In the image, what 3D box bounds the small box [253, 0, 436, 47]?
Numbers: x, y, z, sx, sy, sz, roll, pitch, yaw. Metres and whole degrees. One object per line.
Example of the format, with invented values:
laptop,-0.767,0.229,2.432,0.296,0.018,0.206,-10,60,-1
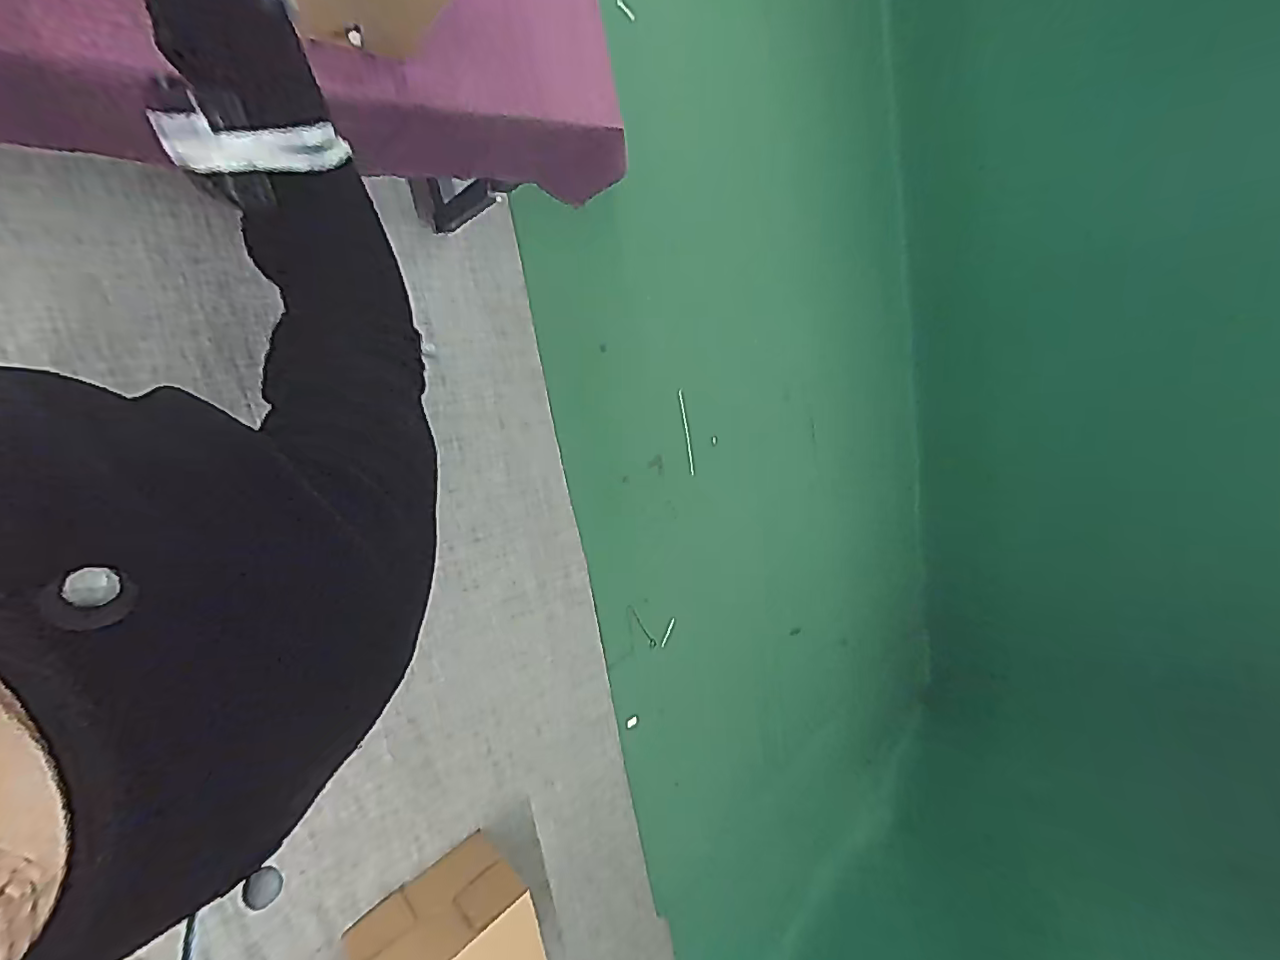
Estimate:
small box,-0.363,-0.660,0.641,0.179,0.176,0.168,-23,107,-41
